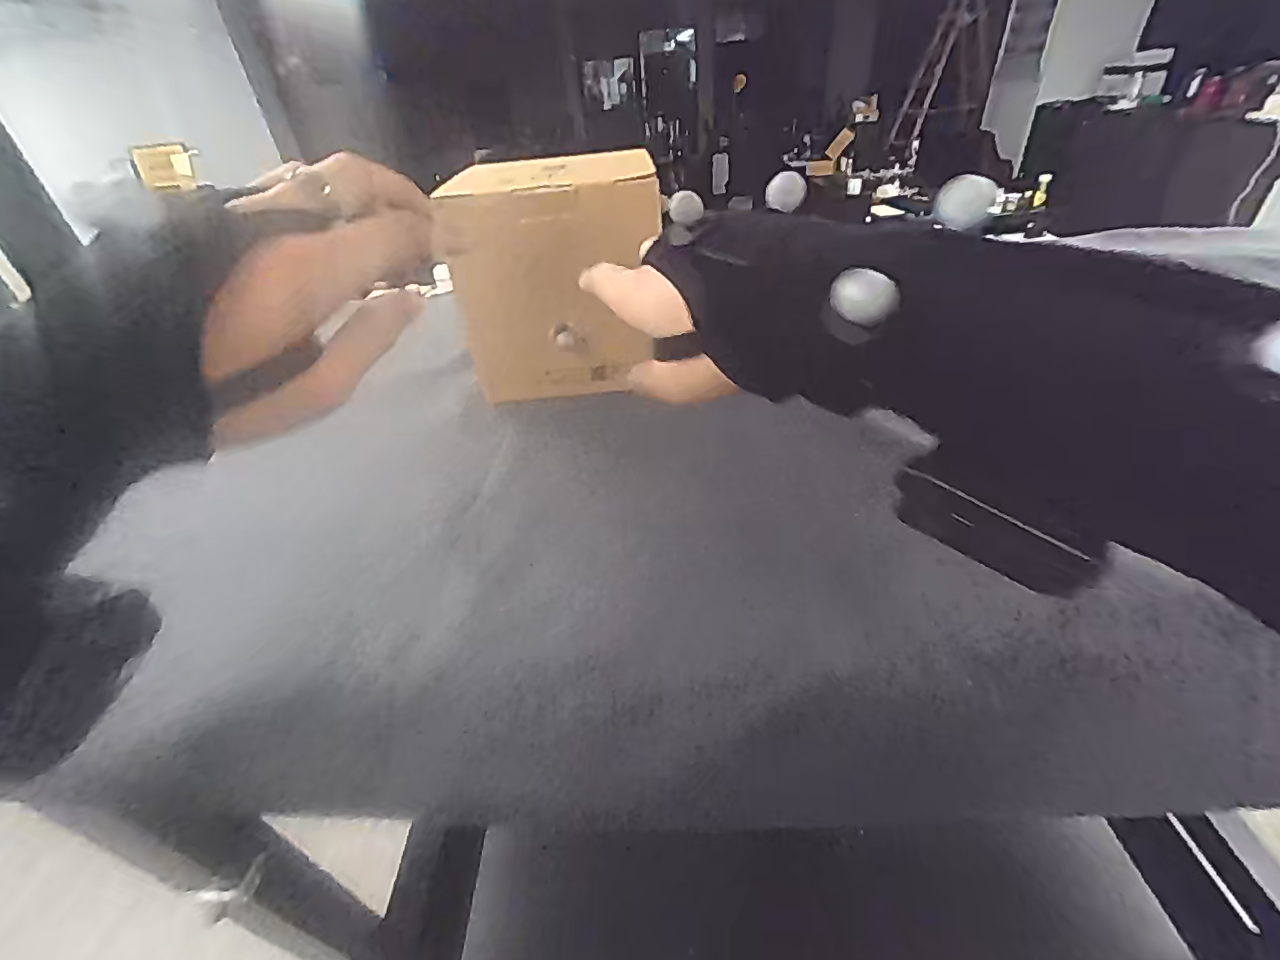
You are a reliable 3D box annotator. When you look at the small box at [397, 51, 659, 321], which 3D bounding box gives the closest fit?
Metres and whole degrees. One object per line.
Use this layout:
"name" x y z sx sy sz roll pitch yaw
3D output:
"small box" -0.073 -0.249 0.459 0.168 0.176 0.179 -5 38 1
